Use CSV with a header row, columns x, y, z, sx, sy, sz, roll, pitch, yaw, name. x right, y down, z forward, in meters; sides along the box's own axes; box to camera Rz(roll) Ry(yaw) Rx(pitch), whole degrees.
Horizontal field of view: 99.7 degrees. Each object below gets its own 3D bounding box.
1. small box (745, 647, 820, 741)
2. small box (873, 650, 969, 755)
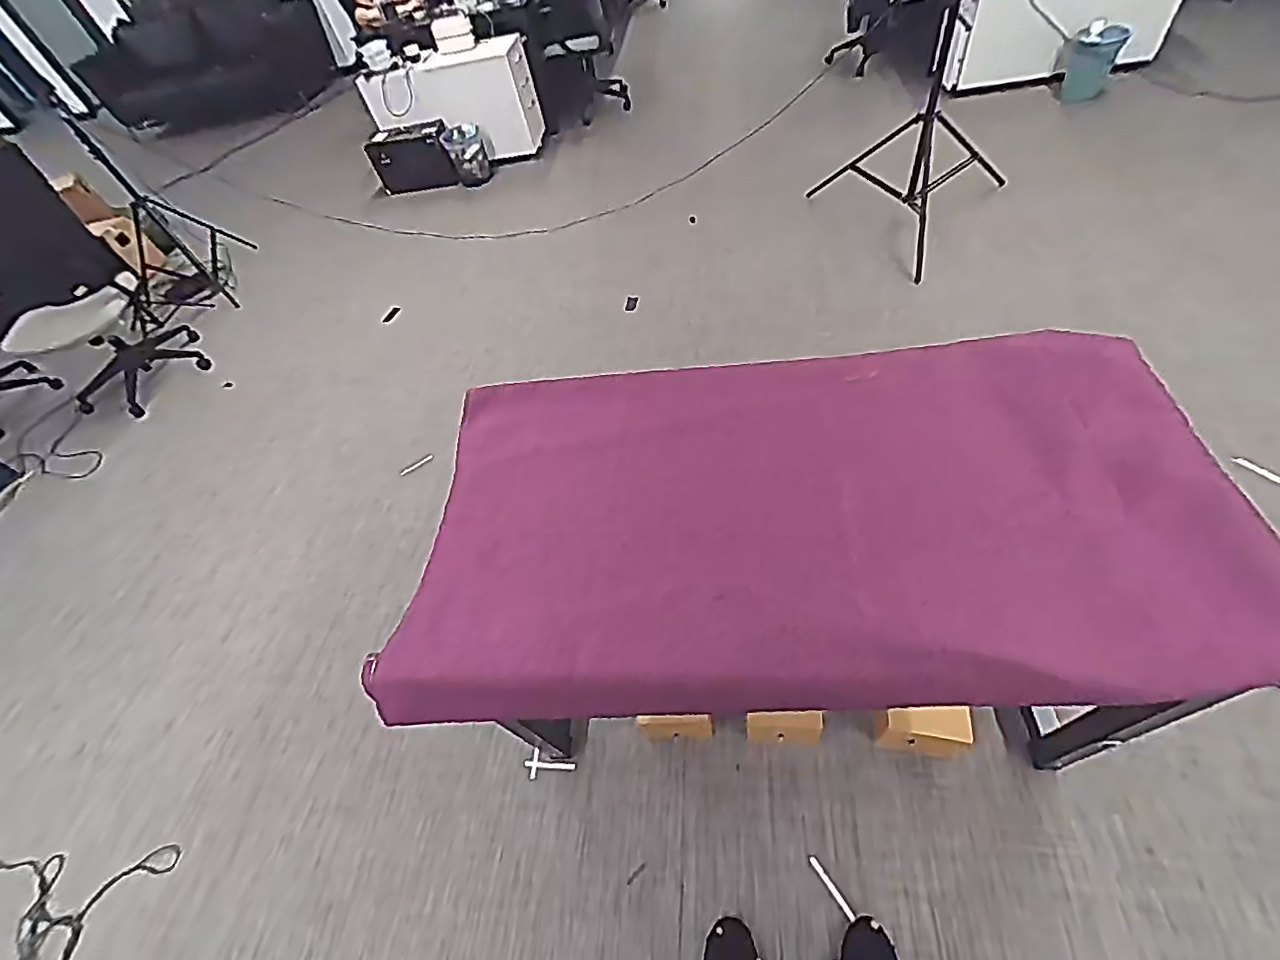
x,y,z,sx,sy,sz,roll,pitch,yaw,name
0.343,0.525,1.319,0.168,0.176,0.179,-1,53,11,small box
0.646,0.522,1.261,0.168,0.176,0.179,4,54,16,small box
